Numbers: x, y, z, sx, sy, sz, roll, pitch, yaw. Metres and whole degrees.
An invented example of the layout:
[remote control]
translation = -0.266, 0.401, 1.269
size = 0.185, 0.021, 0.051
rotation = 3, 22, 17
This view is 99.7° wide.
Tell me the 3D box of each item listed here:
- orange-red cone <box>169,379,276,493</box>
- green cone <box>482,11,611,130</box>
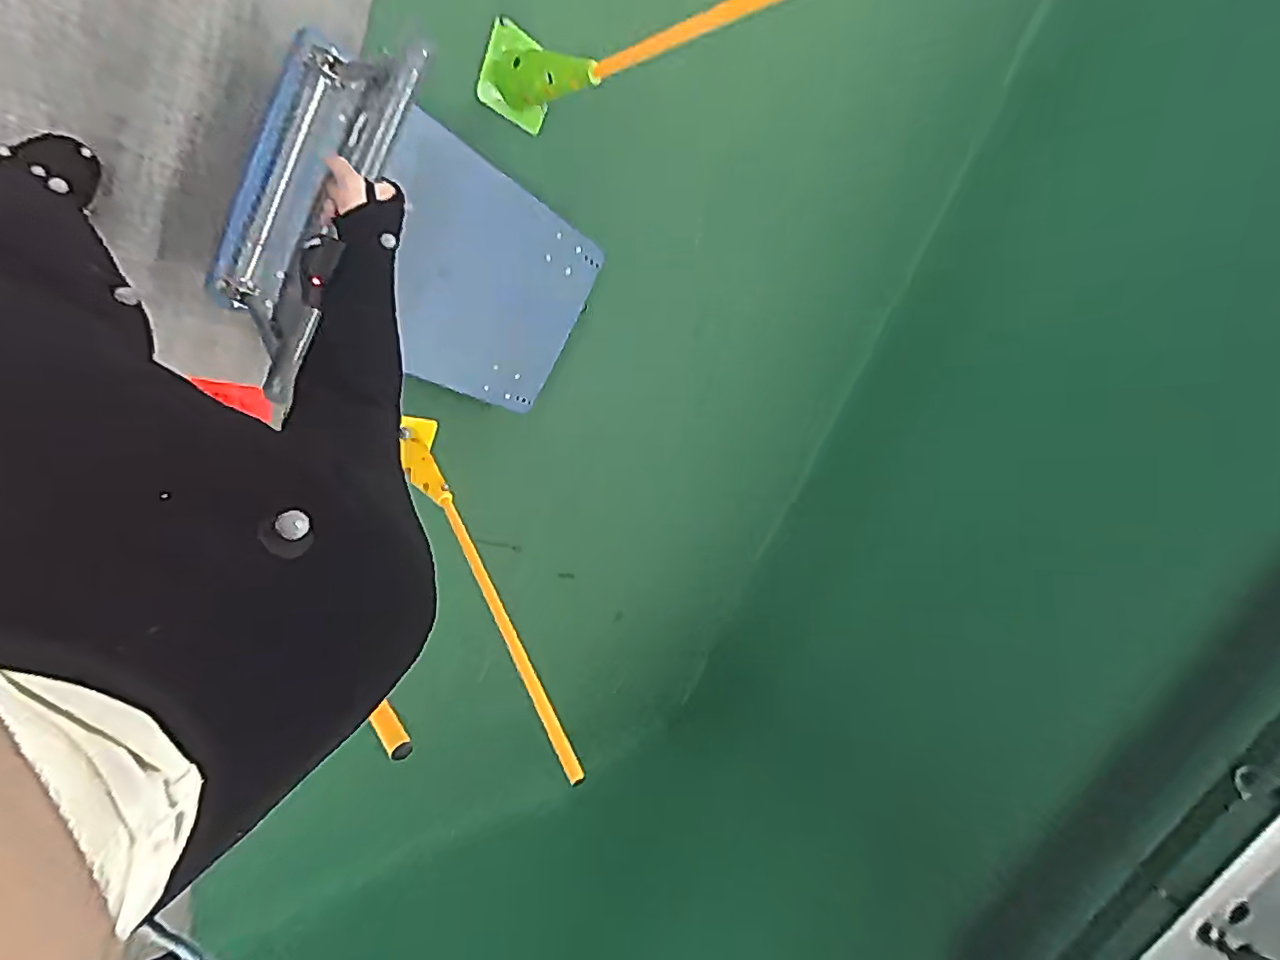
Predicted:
[orange-red cone]
translation = -0.940, -0.071, 1.264
size = 0.199, 0.360, 0.198
rotation = 5, 115, -49
[green cone]
translation = -0.200, -1.002, 1.331
size = 0.202, 0.368, 0.200
rotation = 5, 113, -48
